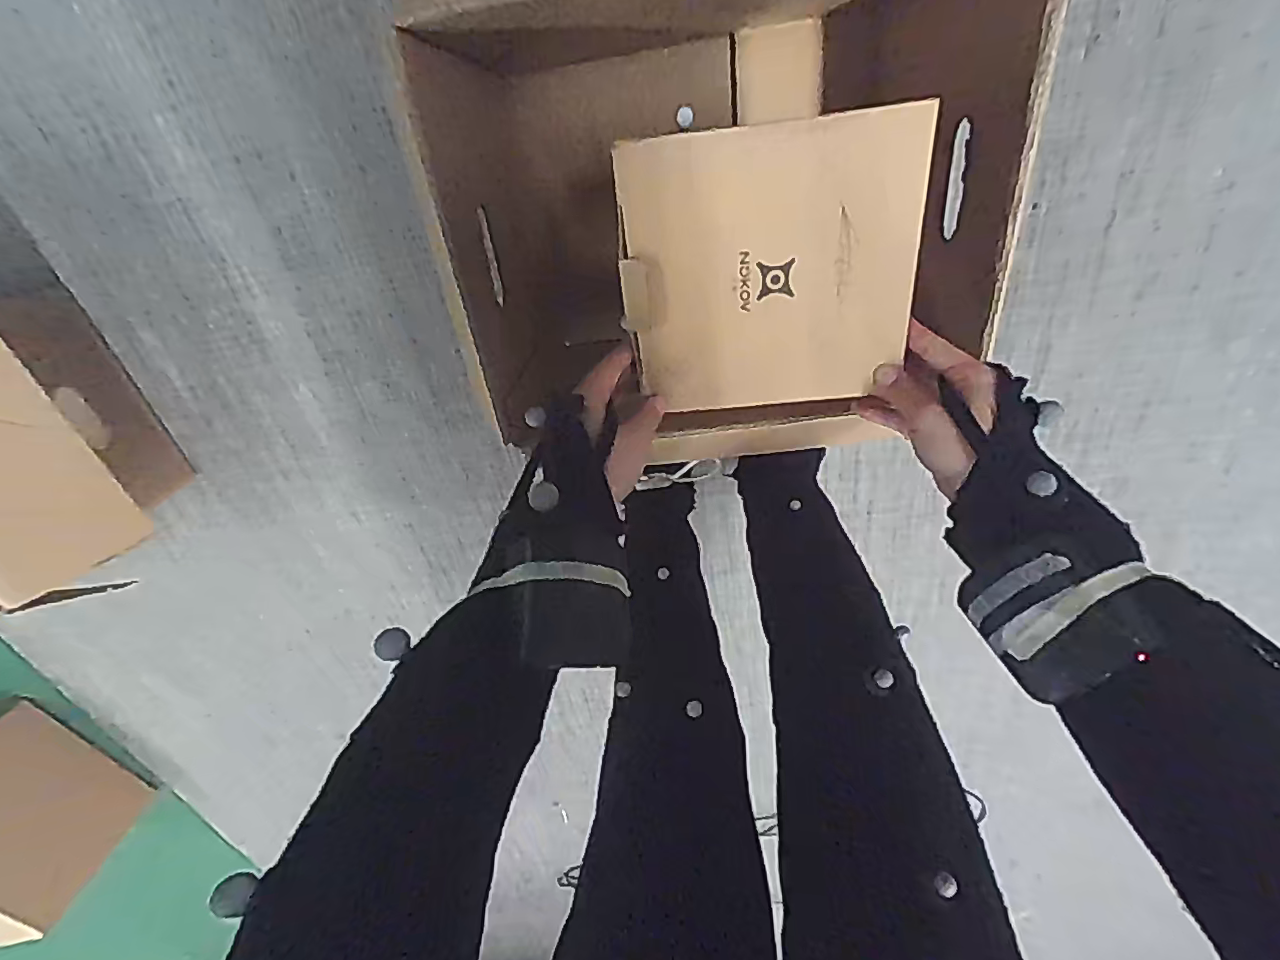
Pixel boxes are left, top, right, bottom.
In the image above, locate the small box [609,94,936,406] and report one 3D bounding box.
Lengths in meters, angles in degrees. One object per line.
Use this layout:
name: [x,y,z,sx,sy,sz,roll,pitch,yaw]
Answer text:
small box: [0.081,-0.168,0.398,0.179,0.176,0.168,-5,122,5]
